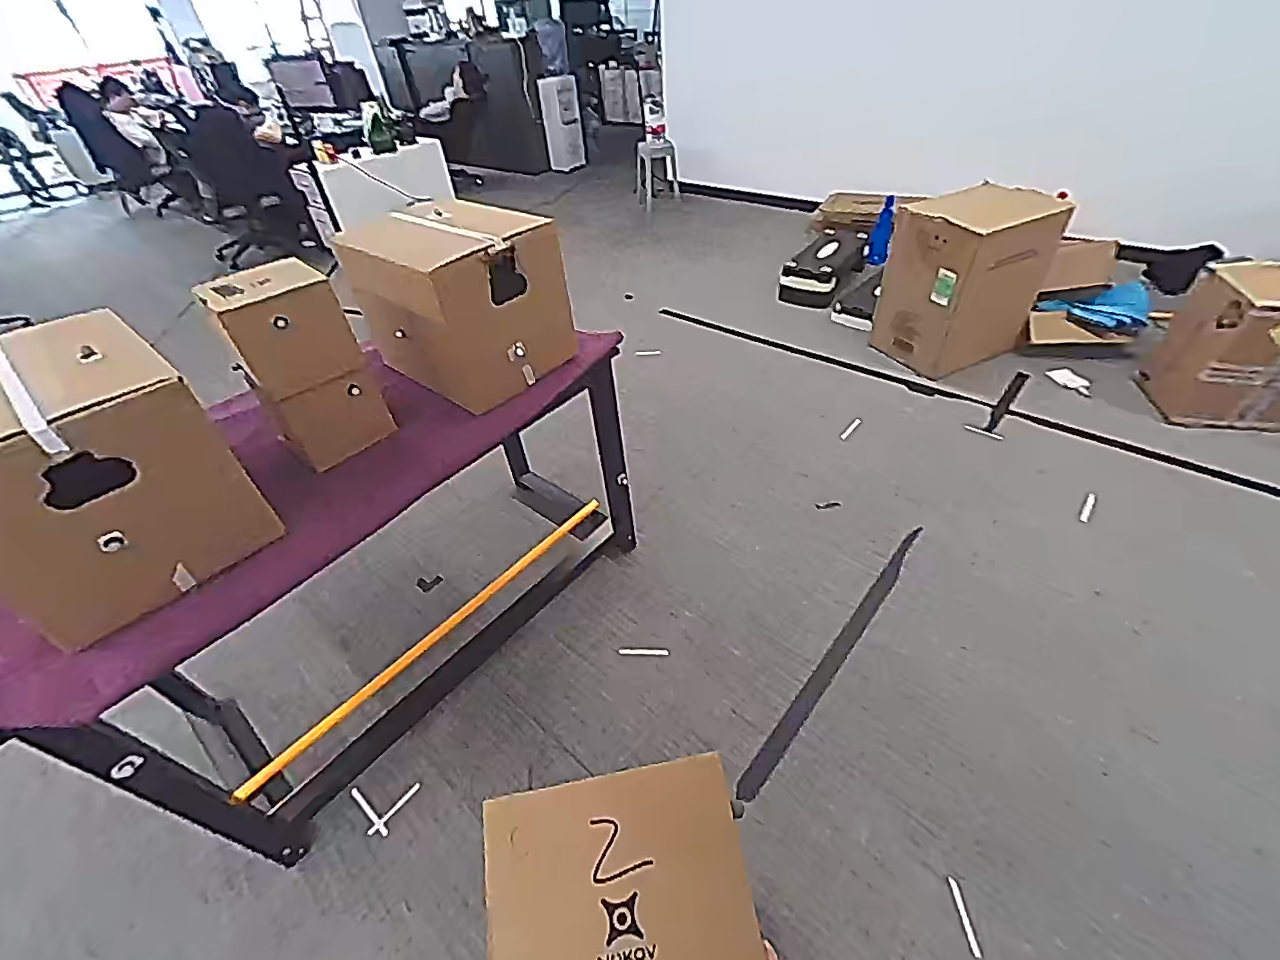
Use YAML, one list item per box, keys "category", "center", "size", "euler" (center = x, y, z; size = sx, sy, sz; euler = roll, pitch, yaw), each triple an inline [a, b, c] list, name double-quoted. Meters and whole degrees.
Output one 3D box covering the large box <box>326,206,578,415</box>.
- category: "large box"
  center: [-0.405, -0.396, 1.224]
  size: [0.408, 0.320, 0.320]
  euler: [26, 50, 32]
